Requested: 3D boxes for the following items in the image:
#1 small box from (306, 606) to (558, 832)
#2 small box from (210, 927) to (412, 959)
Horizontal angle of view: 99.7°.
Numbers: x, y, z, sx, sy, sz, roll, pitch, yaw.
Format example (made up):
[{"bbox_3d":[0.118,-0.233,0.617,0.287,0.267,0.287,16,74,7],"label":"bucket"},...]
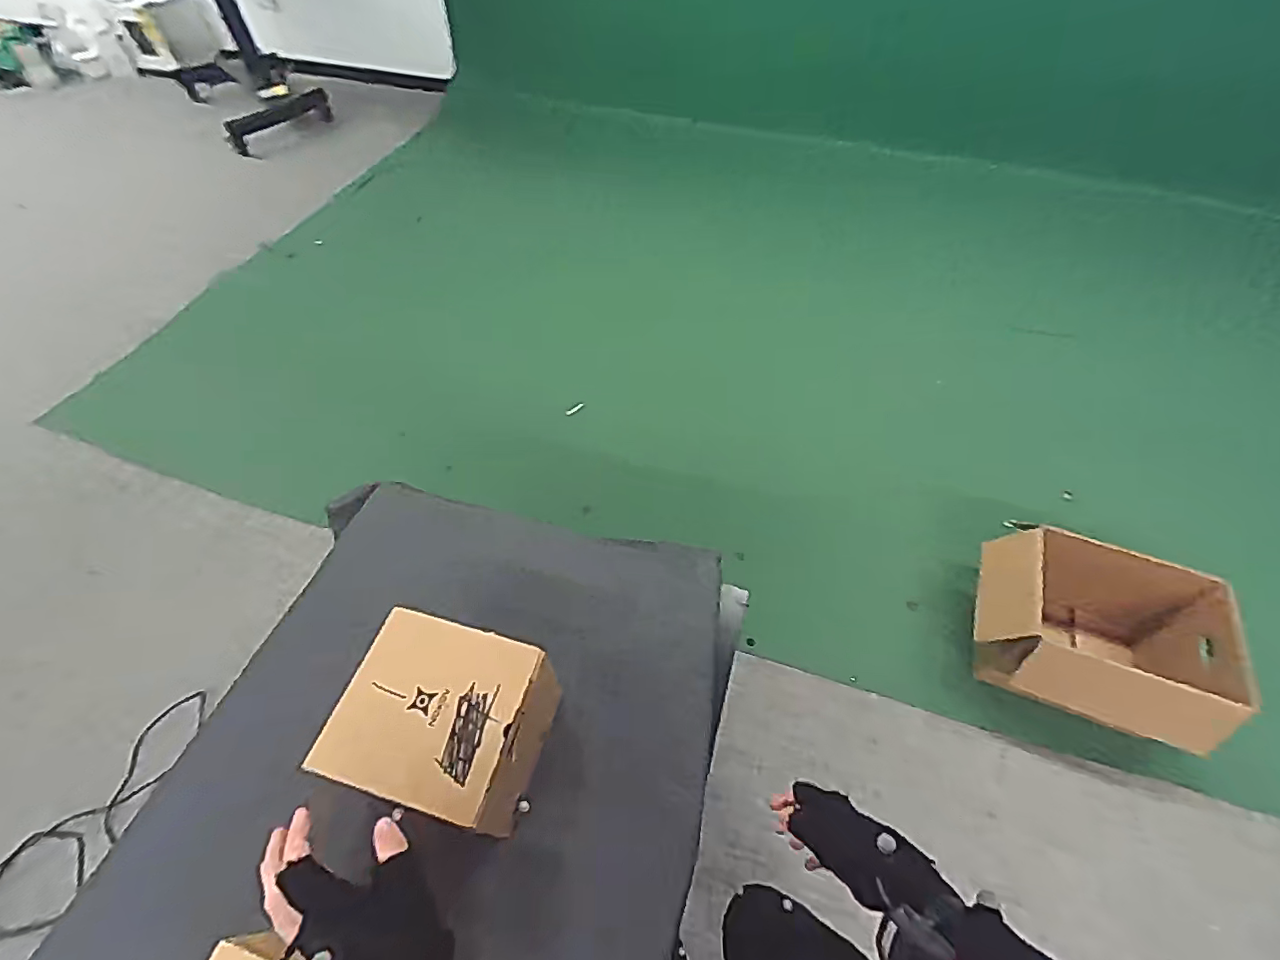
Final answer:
[{"bbox_3d":[-0.203,0.266,0.592,0.179,0.176,0.168,13,55,10],"label":"small box"},{"bbox_3d":[-0.271,0.489,0.433,0.179,0.176,0.168,14,55,9],"label":"small box"}]
